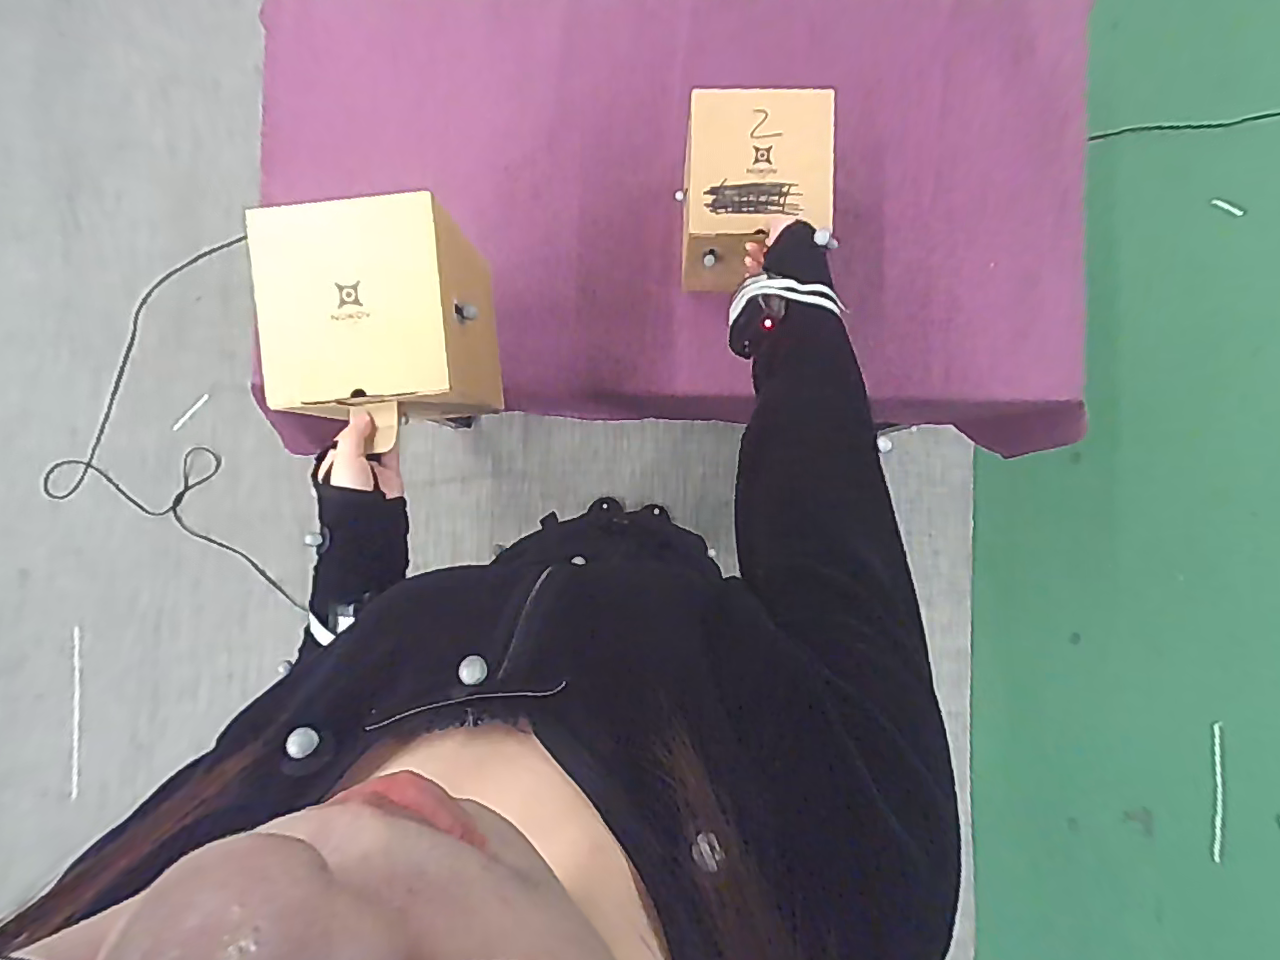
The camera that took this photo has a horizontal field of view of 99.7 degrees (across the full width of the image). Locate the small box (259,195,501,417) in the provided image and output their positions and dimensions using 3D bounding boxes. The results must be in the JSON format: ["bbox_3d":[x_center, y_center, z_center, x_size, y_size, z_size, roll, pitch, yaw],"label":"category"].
[{"bbox_3d":[-0.254,-0.165,0.566,0.168,0.176,0.179,-5,93,2],"label":"small box"}]
